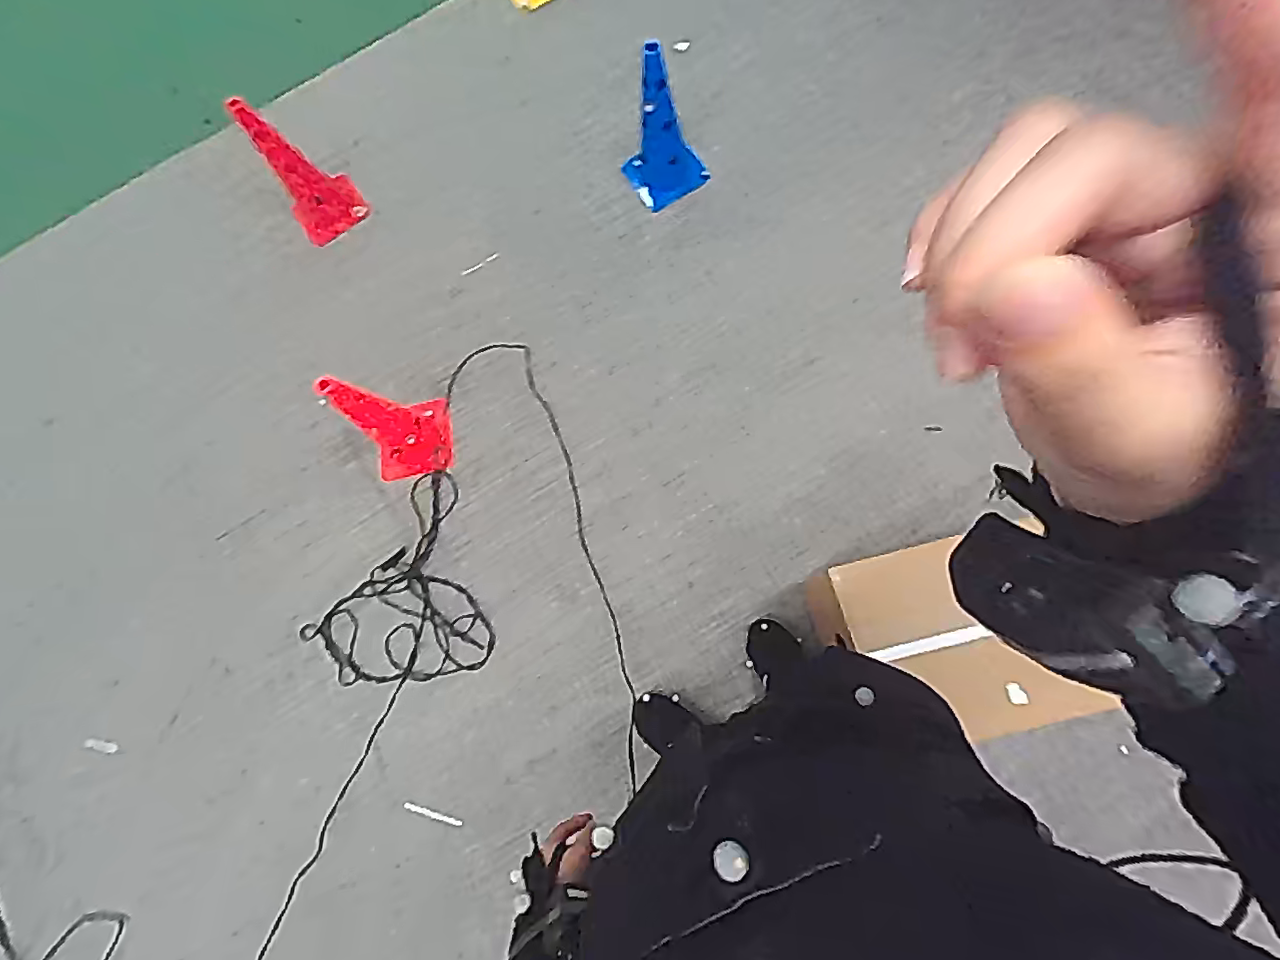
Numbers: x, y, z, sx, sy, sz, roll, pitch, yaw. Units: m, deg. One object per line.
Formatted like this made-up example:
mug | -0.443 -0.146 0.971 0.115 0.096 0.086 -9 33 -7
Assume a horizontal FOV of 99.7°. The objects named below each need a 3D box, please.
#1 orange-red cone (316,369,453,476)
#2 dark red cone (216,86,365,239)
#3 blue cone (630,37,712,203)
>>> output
orange-red cone | -0.618 -0.161 1.266 0.199 0.360 0.198 -12 73 7
dark red cone | -0.973 -0.884 1.488 0.202 0.394 0.201 -38 70 -2
blue cone | 0.060 -0.926 1.383 0.192 0.380 0.193 -30 73 -1
